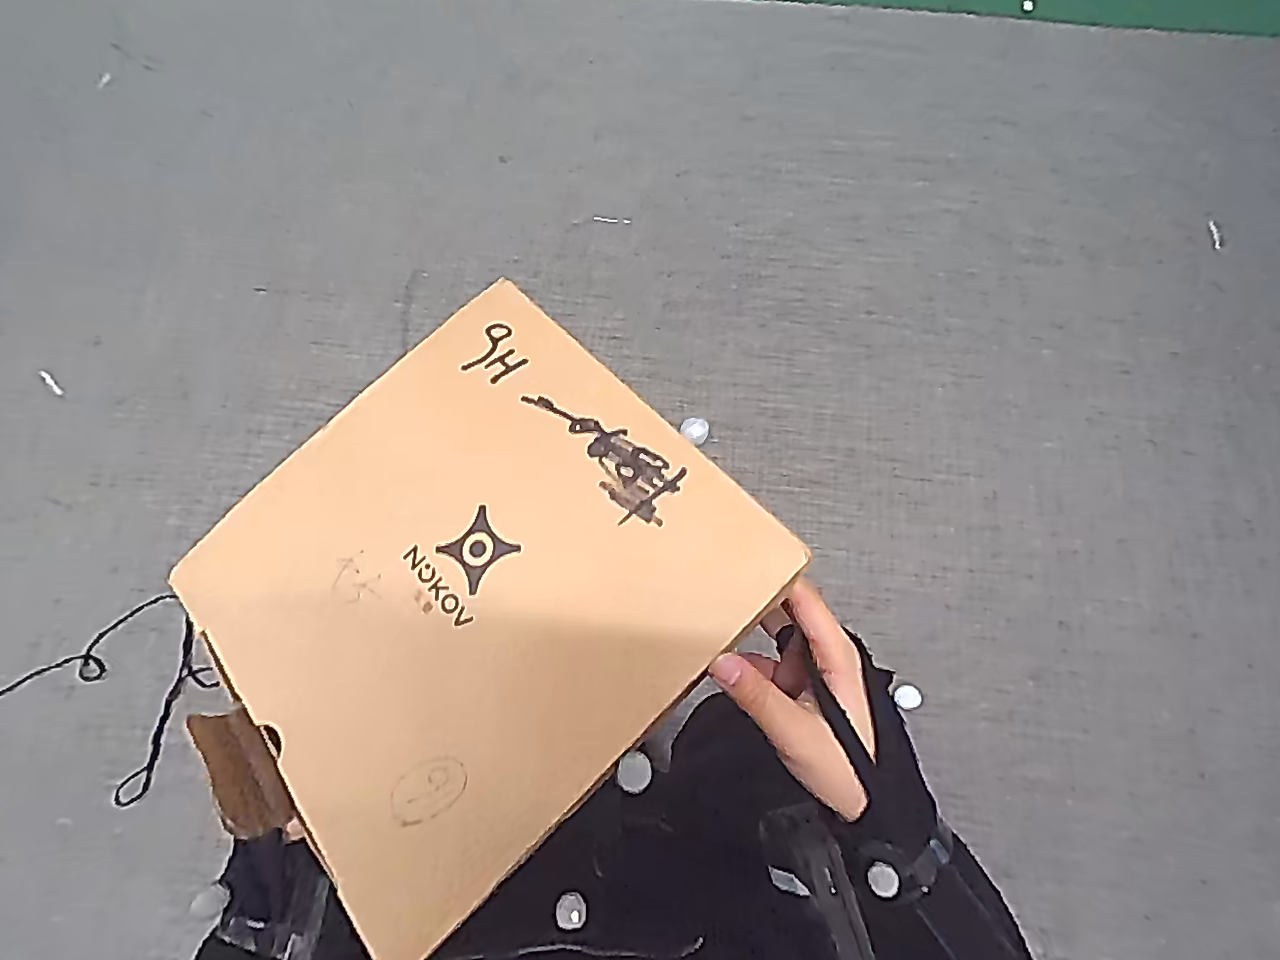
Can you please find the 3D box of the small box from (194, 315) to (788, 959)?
[{"bbox_3d":[-0.049,0.065,0.270,0.179,0.176,0.168,-44,71,-5],"label":"small box"}]
